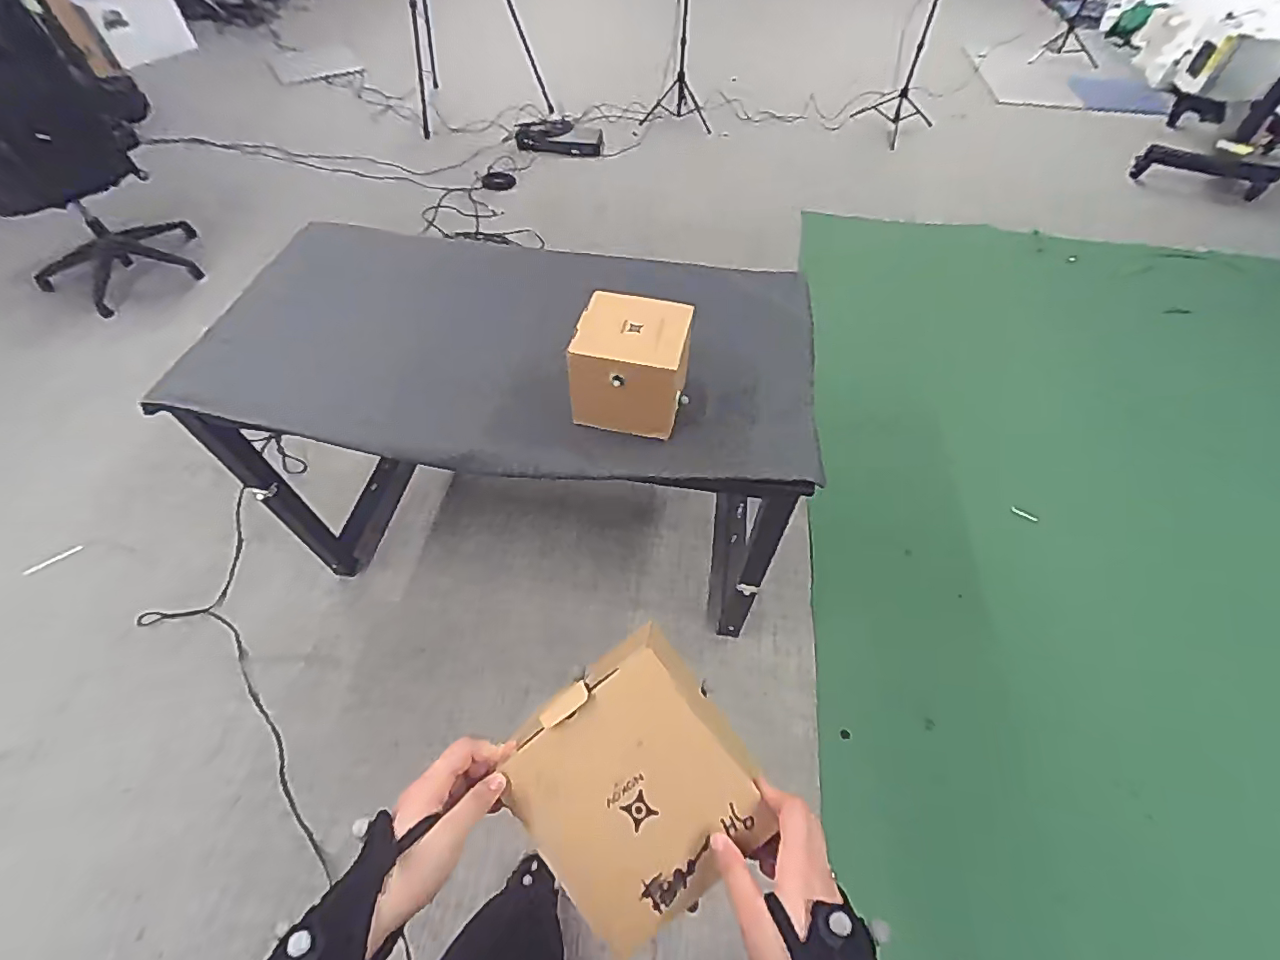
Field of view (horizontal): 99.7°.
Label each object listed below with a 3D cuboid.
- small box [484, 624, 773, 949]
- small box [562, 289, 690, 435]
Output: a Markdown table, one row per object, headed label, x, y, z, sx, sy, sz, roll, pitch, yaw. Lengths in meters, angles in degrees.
| label | x | y | z | sx | sy | sz | roll | pitch | yaw |
| --- | --- | --- | --- | --- | --- | --- | --- | --- | --- |
| small box | -0.009 | 0.252 | 0.503 | 0.168 | 0.176 | 0.179 | -38 | 84 | -3 |
| small box | -0.021 | -0.198 | 0.926 | 0.179 | 0.176 | 0.168 | 11 | 55 | 5 |
